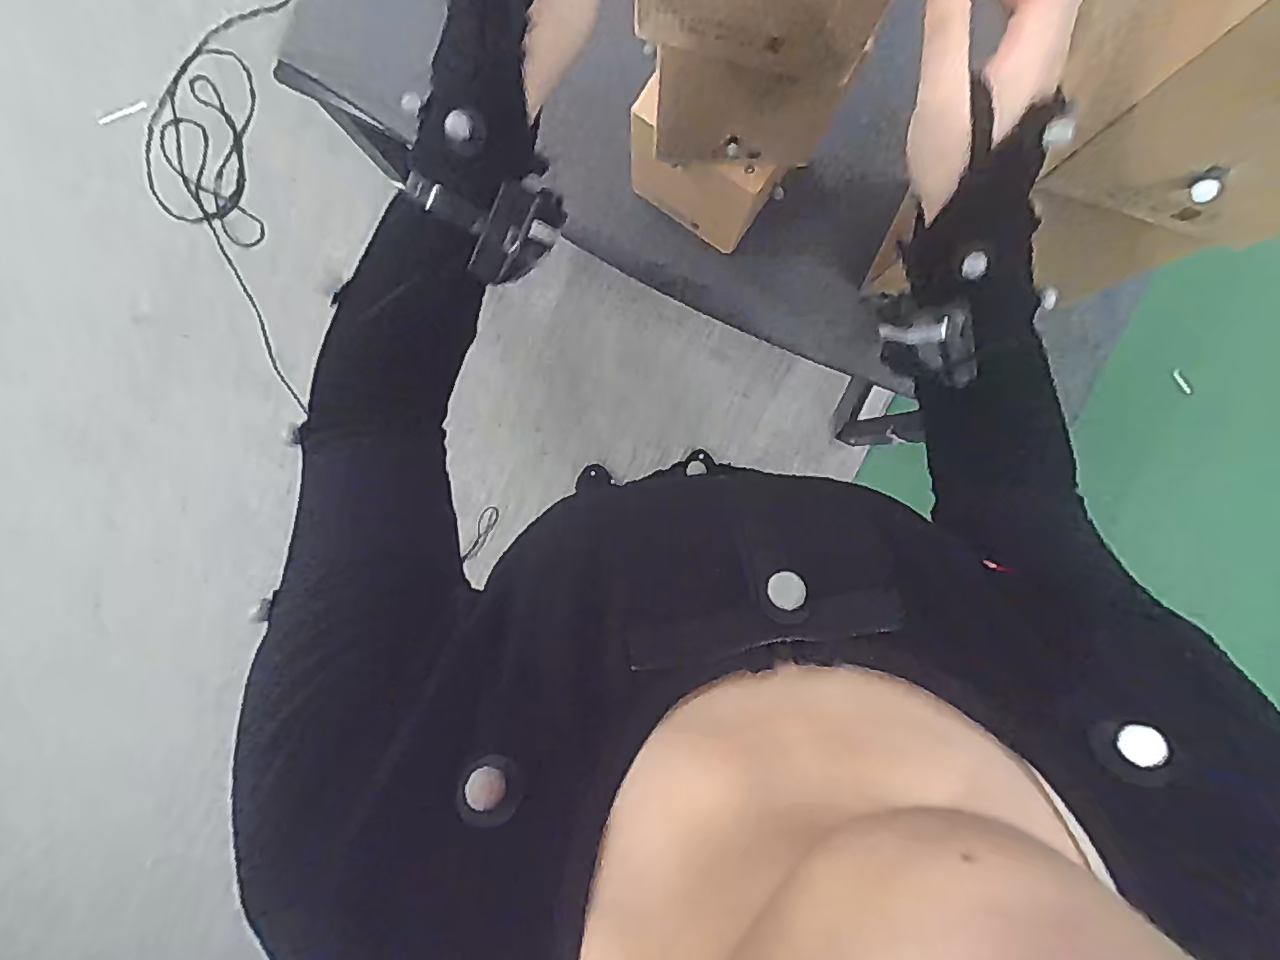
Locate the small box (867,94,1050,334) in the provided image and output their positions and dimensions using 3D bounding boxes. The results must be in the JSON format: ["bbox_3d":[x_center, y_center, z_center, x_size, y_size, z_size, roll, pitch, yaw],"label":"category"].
[{"bbox_3d":[0.406,-0.303,0.658,0.168,0.176,0.179,26,90,0],"label":"small box"}]

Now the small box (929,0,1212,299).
[{"bbox_3d":[0.404,-0.297,0.496,0.168,0.176,0.179,22,91,1],"label":"small box"}]

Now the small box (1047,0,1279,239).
[{"bbox_3d":[0.402,-0.286,0.331,0.168,0.176,0.179,19,90,2],"label":"small box"}]

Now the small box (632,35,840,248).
[{"bbox_3d":[0.101,-0.426,0.657,0.168,0.176,0.179,34,91,-1],"label":"small box"}]

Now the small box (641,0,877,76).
[{"bbox_3d":[0.092,-0.399,0.329,0.168,0.176,0.179,13,92,0],"label":"small box"}]
